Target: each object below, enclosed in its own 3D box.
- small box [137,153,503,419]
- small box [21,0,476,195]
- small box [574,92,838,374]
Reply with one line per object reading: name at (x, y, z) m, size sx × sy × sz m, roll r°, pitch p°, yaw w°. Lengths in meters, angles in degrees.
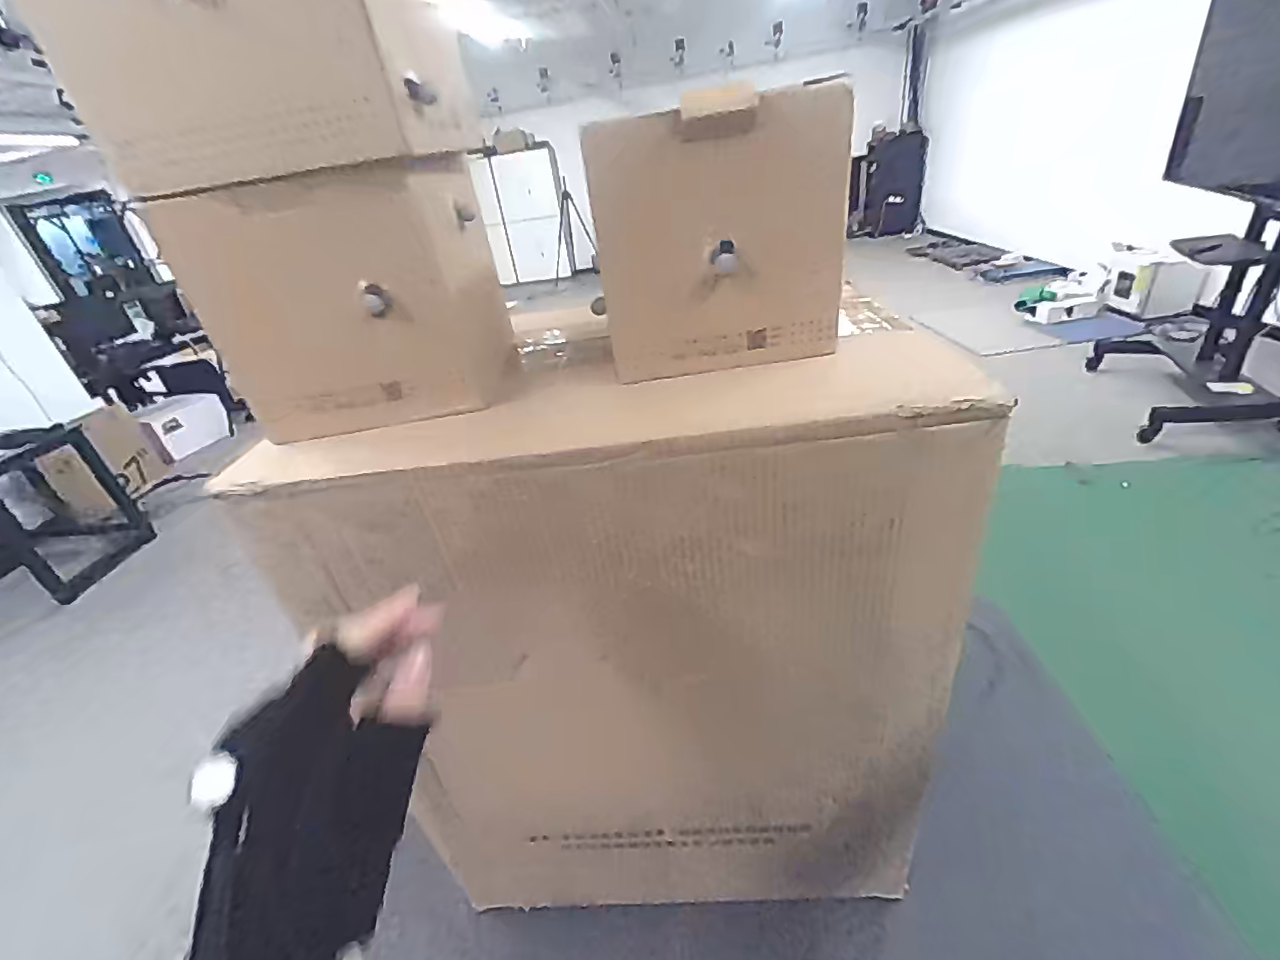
small box at (-0.216, -0.160, 0.433) m, size 0.168 × 0.176 × 0.179 m, roll -12°, pitch 34°, yaw -2°
small box at (-0.225, -0.279, 0.345) m, size 0.179 × 0.176 × 0.168 m, roll -8°, pitch 33°, yaw 5°
small box at (0.049, -0.194, 0.437) m, size 0.168 × 0.176 × 0.179 m, roll -8°, pitch 34°, yaw 3°
